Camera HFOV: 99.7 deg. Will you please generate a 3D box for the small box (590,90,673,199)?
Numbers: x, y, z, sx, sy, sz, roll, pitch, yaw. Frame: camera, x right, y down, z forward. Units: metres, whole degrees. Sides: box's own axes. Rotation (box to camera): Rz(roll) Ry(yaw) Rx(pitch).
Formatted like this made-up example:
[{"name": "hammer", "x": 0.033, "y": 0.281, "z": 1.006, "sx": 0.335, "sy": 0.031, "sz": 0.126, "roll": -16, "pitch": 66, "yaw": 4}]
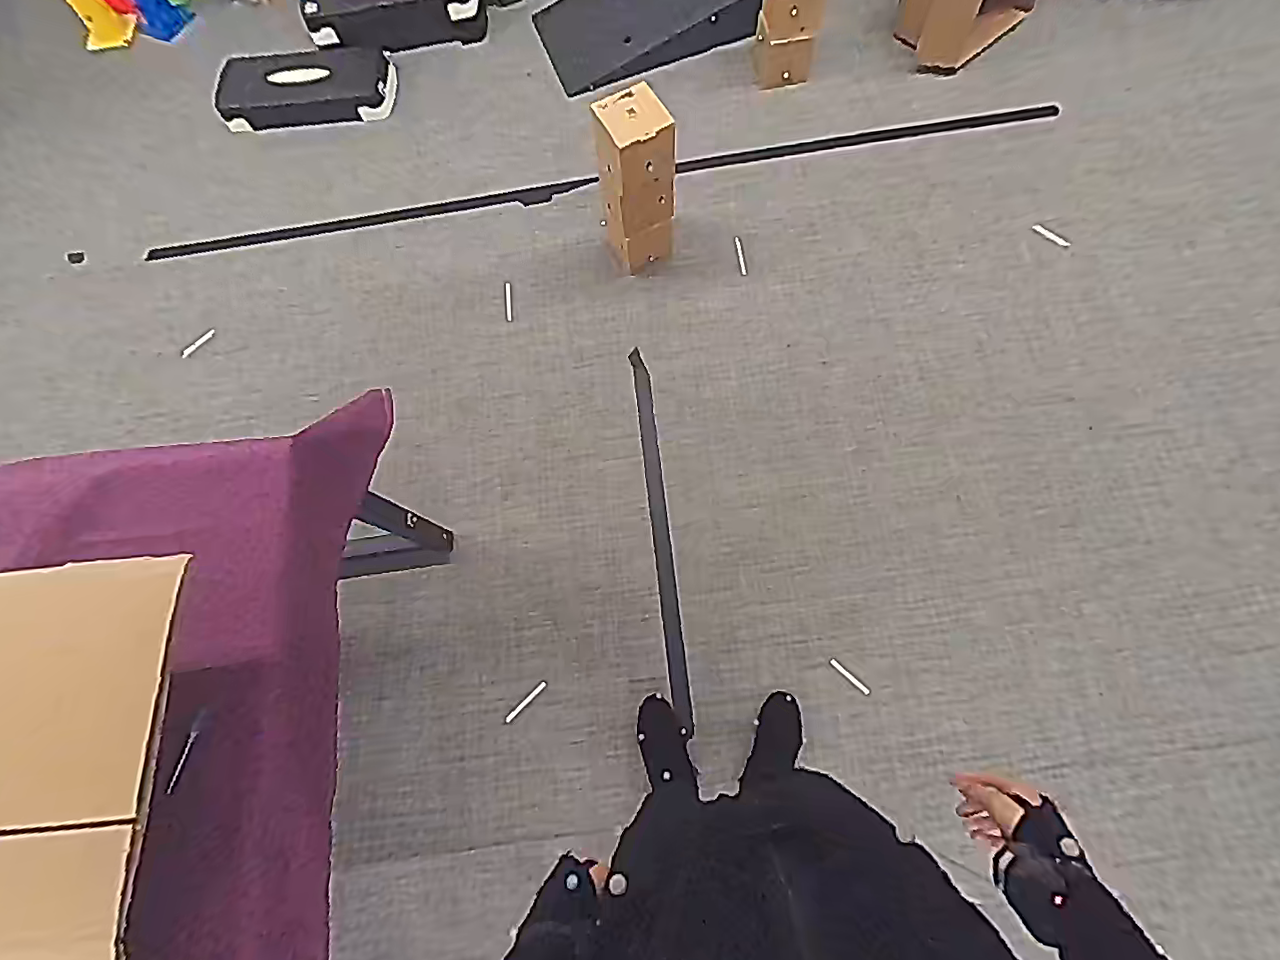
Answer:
[{"name": "small box", "x": -0.018, "y": -0.908, "z": 1.483, "sx": 0.168, "sy": 0.176, "sz": 0.179, "roll": -27, "pitch": 73, "yaw": -6}]
